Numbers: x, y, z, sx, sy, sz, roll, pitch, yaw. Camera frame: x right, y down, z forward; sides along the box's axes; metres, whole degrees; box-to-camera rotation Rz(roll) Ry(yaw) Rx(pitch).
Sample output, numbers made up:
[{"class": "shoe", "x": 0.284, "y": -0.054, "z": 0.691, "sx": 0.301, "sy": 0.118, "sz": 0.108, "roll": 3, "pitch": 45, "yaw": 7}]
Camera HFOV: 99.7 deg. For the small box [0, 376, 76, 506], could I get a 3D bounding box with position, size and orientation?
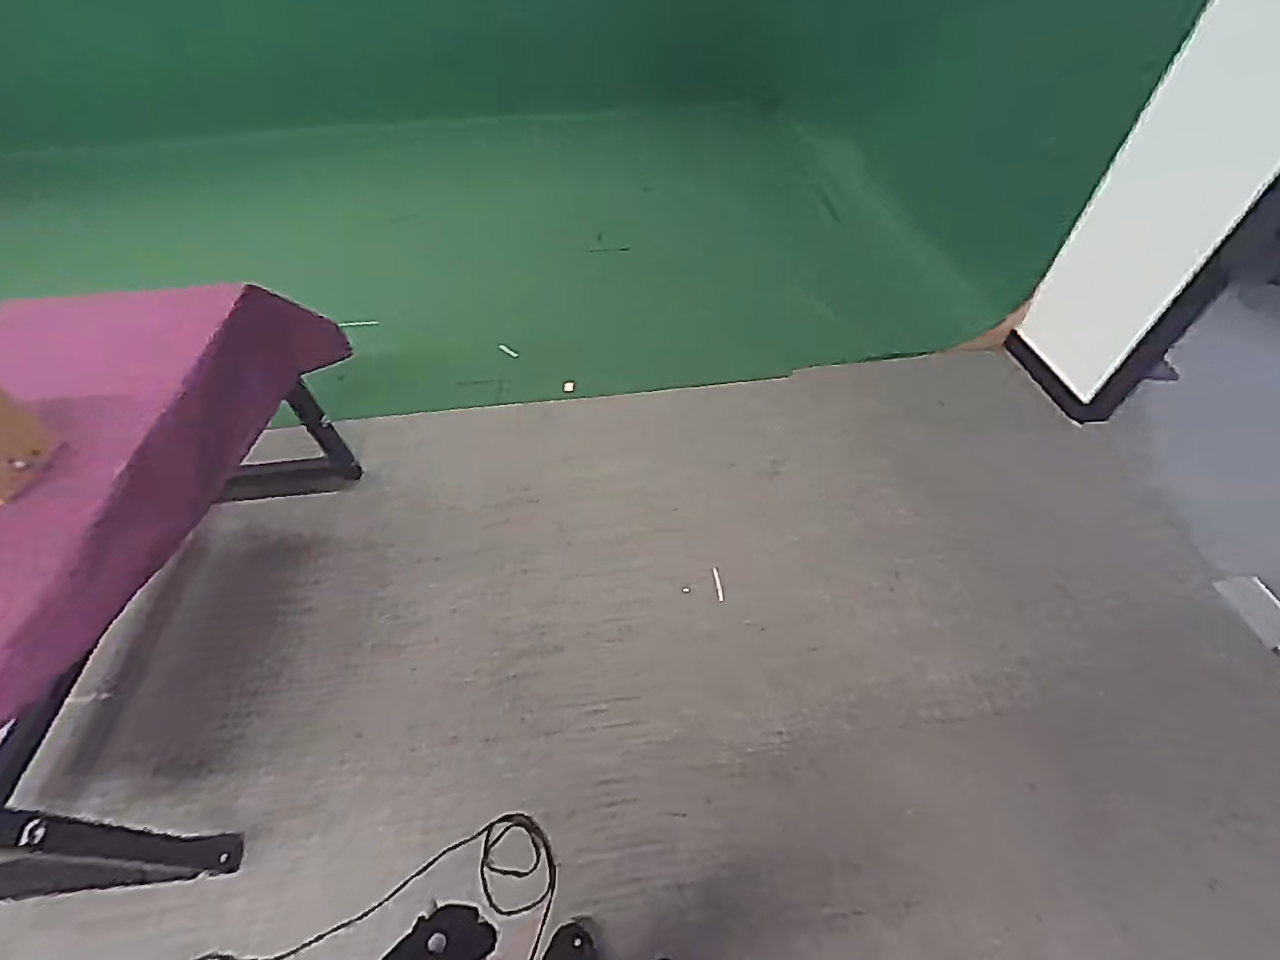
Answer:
[{"class": "small box", "x": -1.187, "y": -0.065, "z": 0.950, "sx": 0.179, "sy": 0.176, "sz": 0.168, "roll": -2, "pitch": 52, "yaw": 1}]
